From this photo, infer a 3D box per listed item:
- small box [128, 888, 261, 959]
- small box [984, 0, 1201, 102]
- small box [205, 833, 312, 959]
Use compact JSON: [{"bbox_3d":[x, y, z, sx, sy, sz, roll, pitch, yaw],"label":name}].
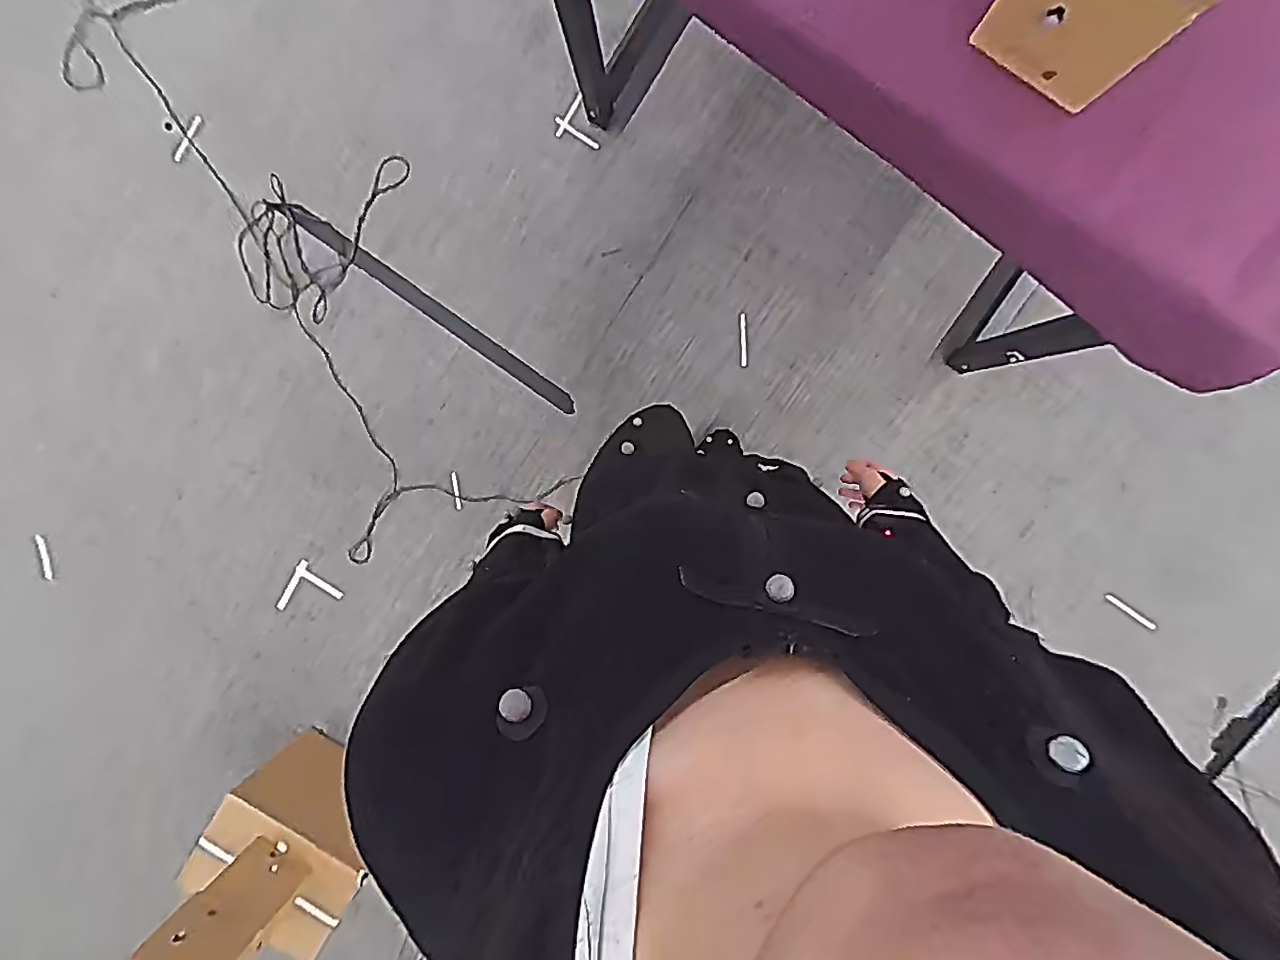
[{"bbox_3d":[-0.939,1.010,1.121,0.168,0.176,0.179,30,98,1],"label":"small box"},{"bbox_3d":[0.527,-0.578,0.598,0.168,0.176,0.179,35,96,0],"label":"small box"},{"bbox_3d":[-0.928,1.001,1.283,0.168,0.176,0.179,31,96,0],"label":"small box"}]
